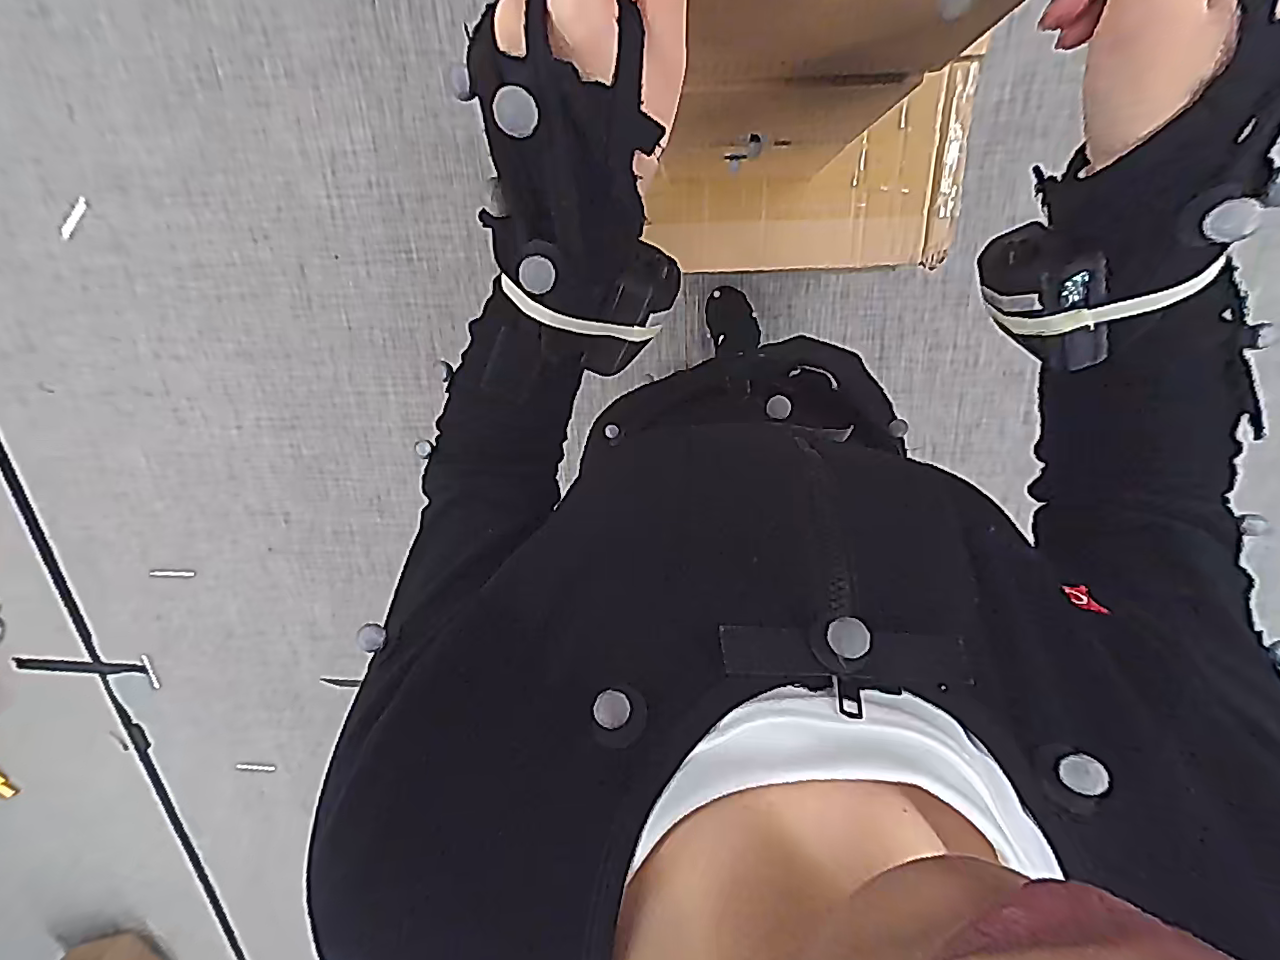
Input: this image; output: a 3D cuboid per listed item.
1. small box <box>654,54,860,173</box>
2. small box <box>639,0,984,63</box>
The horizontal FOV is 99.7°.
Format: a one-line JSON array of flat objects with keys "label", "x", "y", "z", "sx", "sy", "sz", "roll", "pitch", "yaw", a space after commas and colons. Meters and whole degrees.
[{"label": "small box", "x": 0.108, "y": -0.408, "z": 0.529, "sx": 0.179, "sy": 0.176, "sz": 0.168, "roll": 2, "pitch": 110, "yaw": 5}, {"label": "small box", "x": 0.085, "y": -0.298, "z": 0.219, "sx": 0.179, "sy": 0.176, "sz": 0.168, "roll": 1, "pitch": 110, "yaw": 5}]
